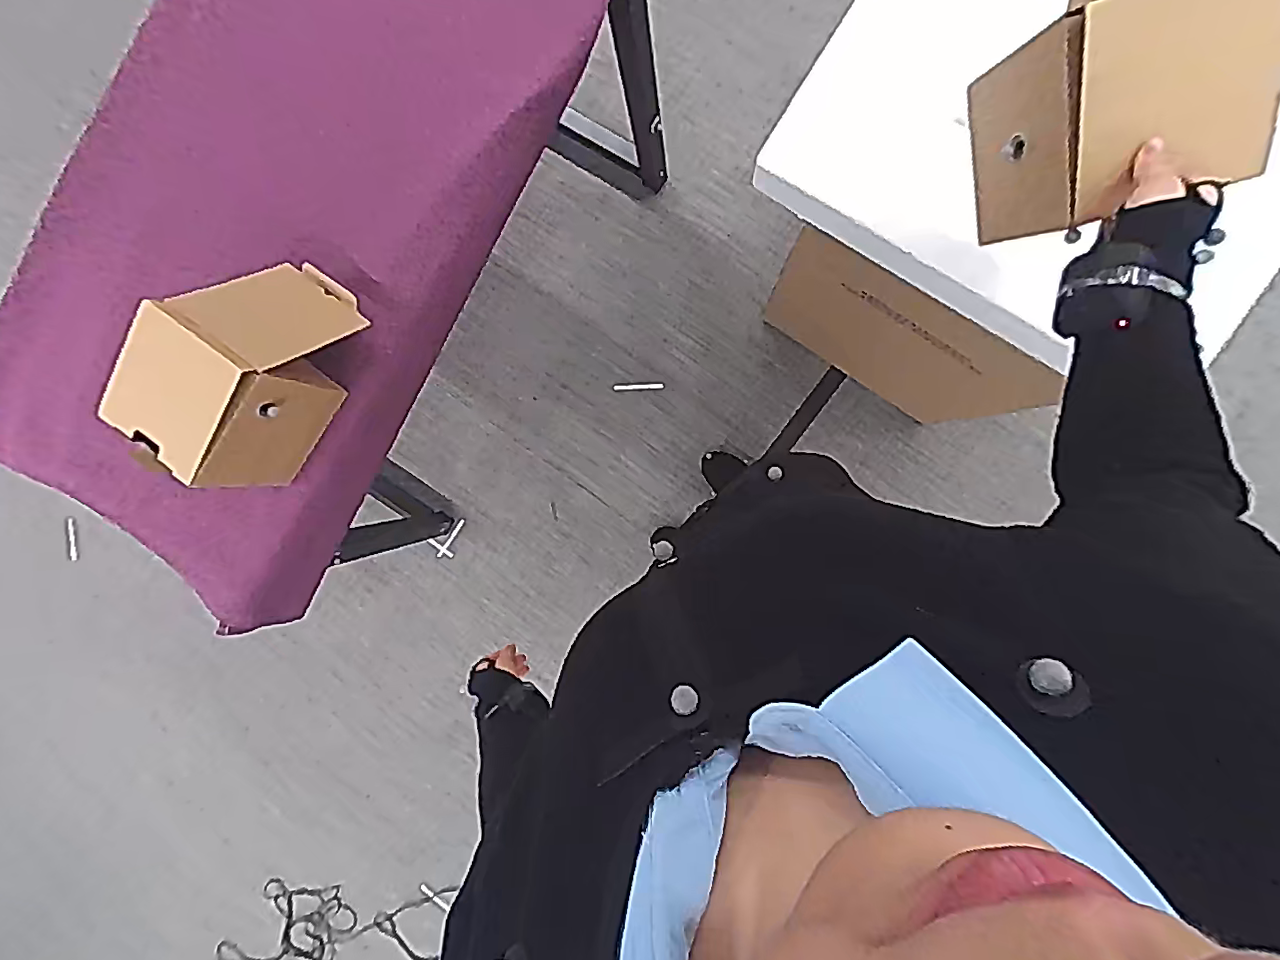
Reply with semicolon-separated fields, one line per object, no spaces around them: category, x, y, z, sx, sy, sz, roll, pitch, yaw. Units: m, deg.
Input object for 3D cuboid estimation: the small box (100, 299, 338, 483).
small box;-0.567;-0.113;0.756;0.168;0.176;0.179;36;95;6
